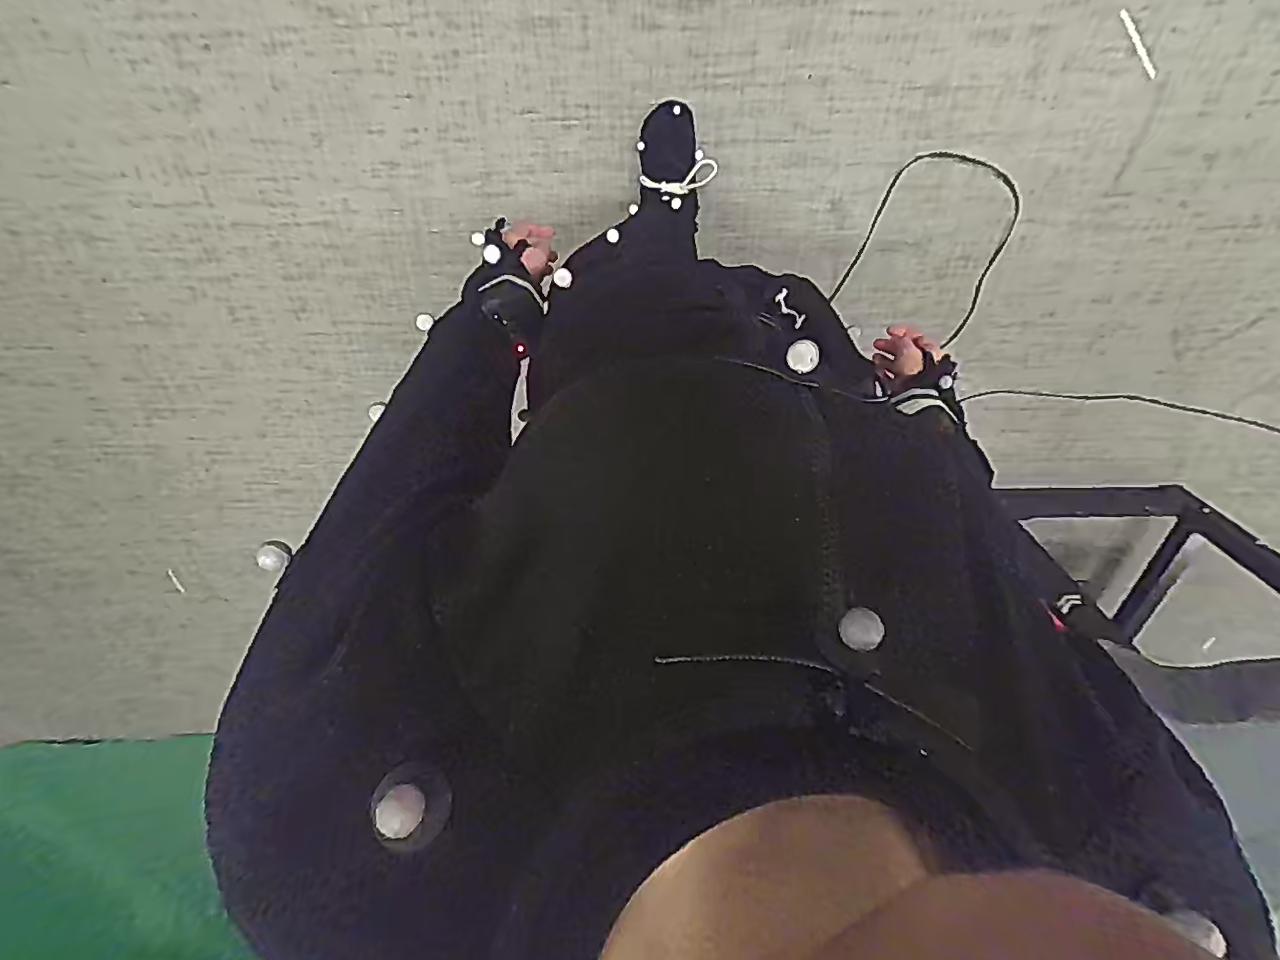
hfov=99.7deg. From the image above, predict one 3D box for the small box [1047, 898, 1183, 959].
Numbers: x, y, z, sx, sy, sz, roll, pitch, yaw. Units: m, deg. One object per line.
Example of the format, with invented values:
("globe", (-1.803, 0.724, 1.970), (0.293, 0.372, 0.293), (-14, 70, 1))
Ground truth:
("small box", (1.073, 1.064, 1.206), (0.179, 0.176, 0.168), (1, 122, 2))
